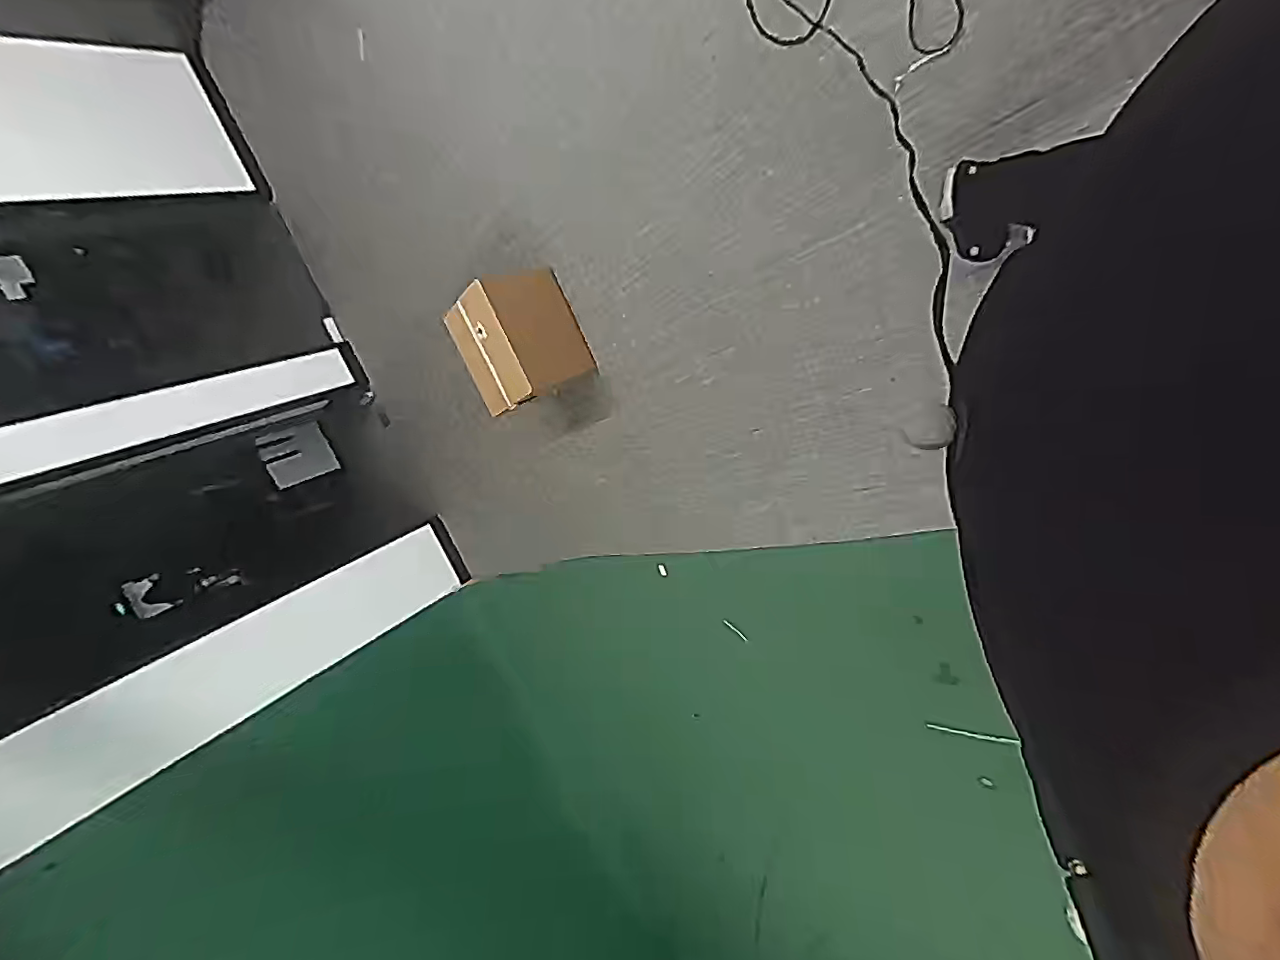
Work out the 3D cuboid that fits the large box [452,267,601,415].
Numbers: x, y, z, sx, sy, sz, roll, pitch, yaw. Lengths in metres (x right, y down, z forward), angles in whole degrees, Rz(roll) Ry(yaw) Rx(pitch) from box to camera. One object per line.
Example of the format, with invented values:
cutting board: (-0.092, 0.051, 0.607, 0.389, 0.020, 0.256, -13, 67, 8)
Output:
large box: (-0.411, -0.502, 1.974, 0.320, 0.320, 0.408, -18, 99, 48)
